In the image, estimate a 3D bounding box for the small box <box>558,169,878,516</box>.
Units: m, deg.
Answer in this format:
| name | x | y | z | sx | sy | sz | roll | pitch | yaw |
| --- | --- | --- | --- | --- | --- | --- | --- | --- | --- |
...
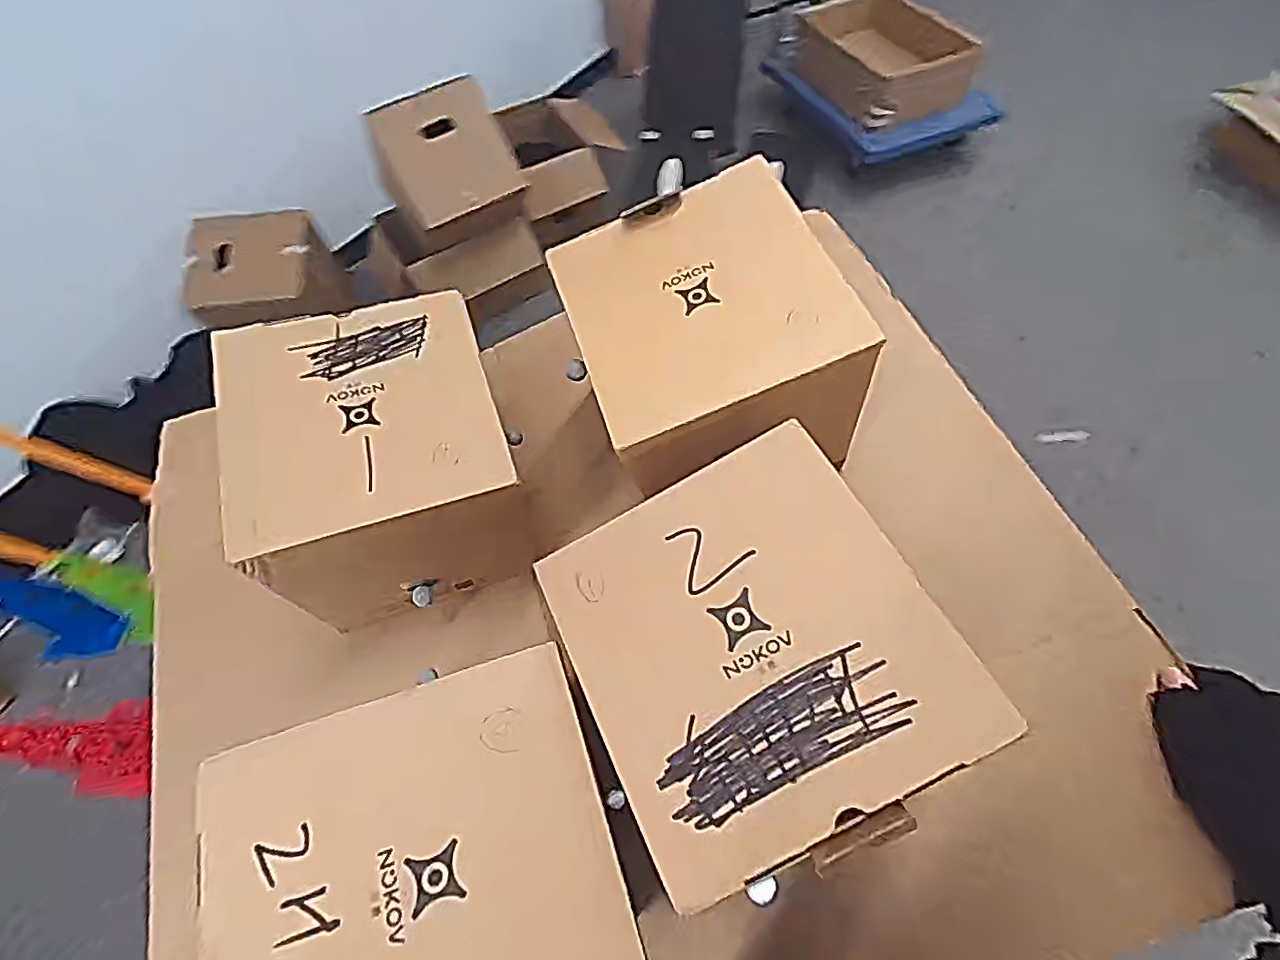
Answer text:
| name | x | y | z | sx | sy | sz | roll | pitch | yaw |
| --- | --- | --- | --- | --- | --- | --- | --- | --- | --- |
| small box | 0.058 | -0.087 | 0.422 | 0.168 | 0.176 | 0.179 | -22 | 63 | 5 |
